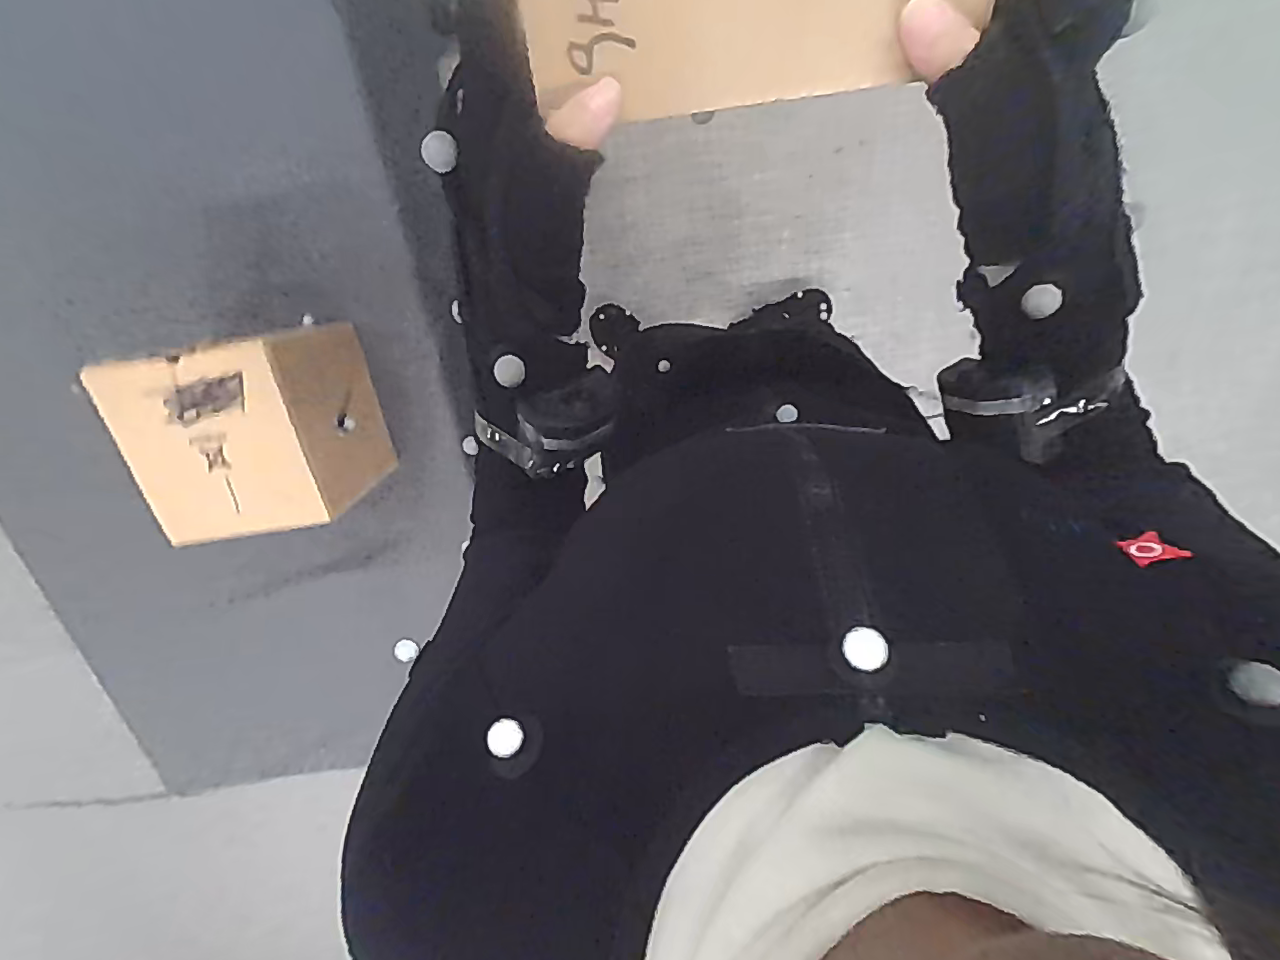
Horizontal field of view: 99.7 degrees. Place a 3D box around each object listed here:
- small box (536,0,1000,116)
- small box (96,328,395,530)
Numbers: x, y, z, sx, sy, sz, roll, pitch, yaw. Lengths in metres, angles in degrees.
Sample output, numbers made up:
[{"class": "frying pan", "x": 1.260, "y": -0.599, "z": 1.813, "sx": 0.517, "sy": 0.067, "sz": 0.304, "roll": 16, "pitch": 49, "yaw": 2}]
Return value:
[{"class": "small box", "x": 0.037, "y": -0.264, "z": 0.225, "sx": 0.179, "sy": 0.176, "sz": 0.168, "roll": -7, "pitch": 128, "yaw": -2}, {"class": "small box", "x": -0.392, "y": -0.065, "z": 0.578, "sx": 0.168, "sy": 0.176, "sz": 0.179, "roll": -5, "pitch": 111, "yaw": 3}]
